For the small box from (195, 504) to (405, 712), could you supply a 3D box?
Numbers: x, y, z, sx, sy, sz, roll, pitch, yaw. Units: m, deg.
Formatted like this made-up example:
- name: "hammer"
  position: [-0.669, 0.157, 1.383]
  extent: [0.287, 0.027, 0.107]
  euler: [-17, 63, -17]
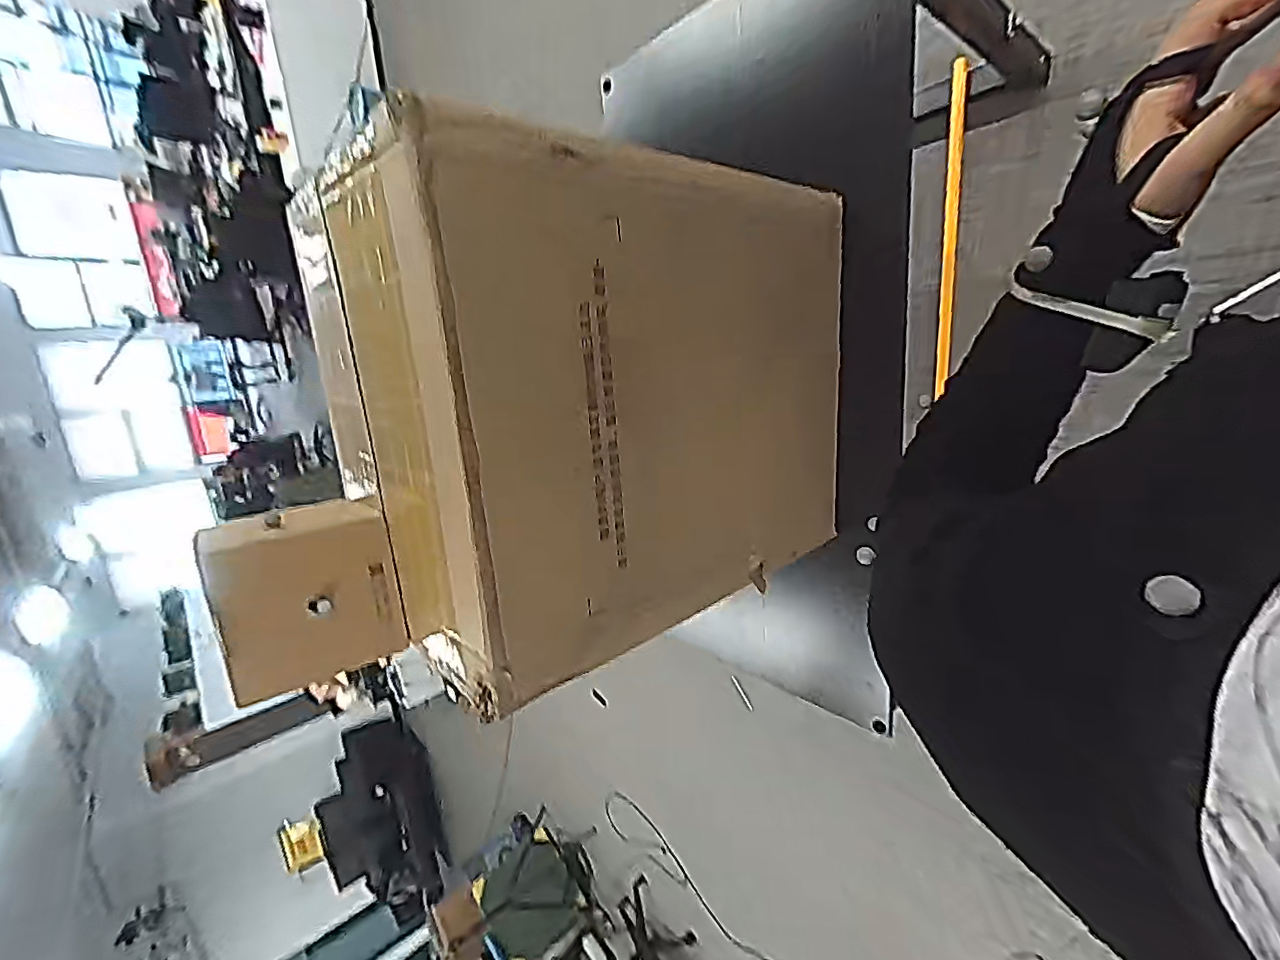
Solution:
- name: "small box"
  position: [-0.389, 0.129, 0.631]
  extent: [0.179, 0.176, 0.168]
  euler: [6, 106, 50]
